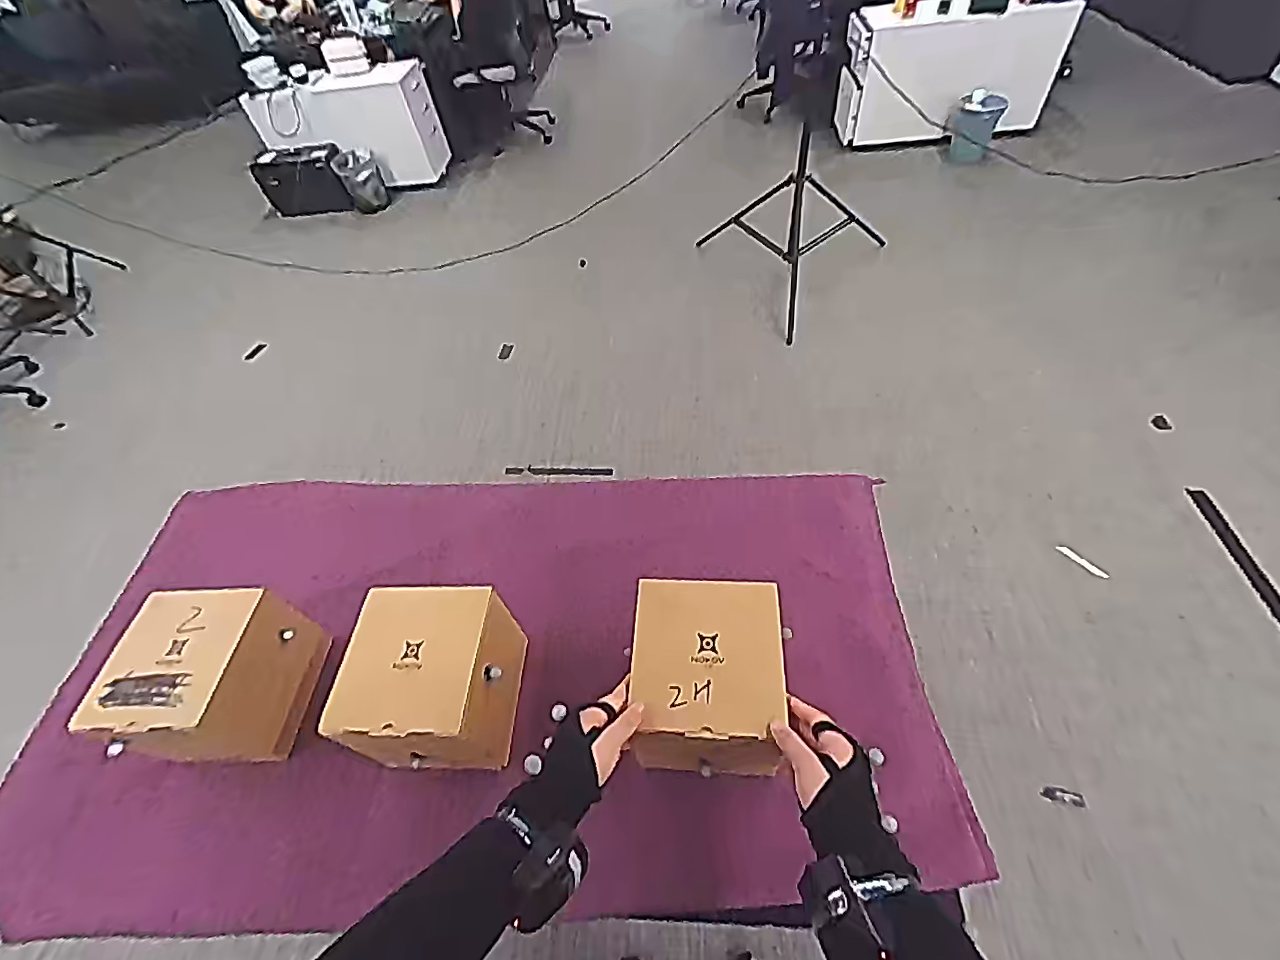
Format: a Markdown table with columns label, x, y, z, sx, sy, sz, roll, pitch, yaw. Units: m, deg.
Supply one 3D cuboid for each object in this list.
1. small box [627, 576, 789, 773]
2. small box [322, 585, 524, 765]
| label | x | y | z | sx | sy | sz | roll | pitch | yaw |
| --- | --- | --- | --- | --- | --- | --- | --- | --- | --- |
| small box | 0.081 | 0.235 | 0.654 | 0.168 | 0.176 | 0.179 | 0 | 51 | 8 |
| small box | -0.257 | 0.252 | 0.696 | 0.168 | 0.176 | 0.179 | -2 | 52 | 6 |
